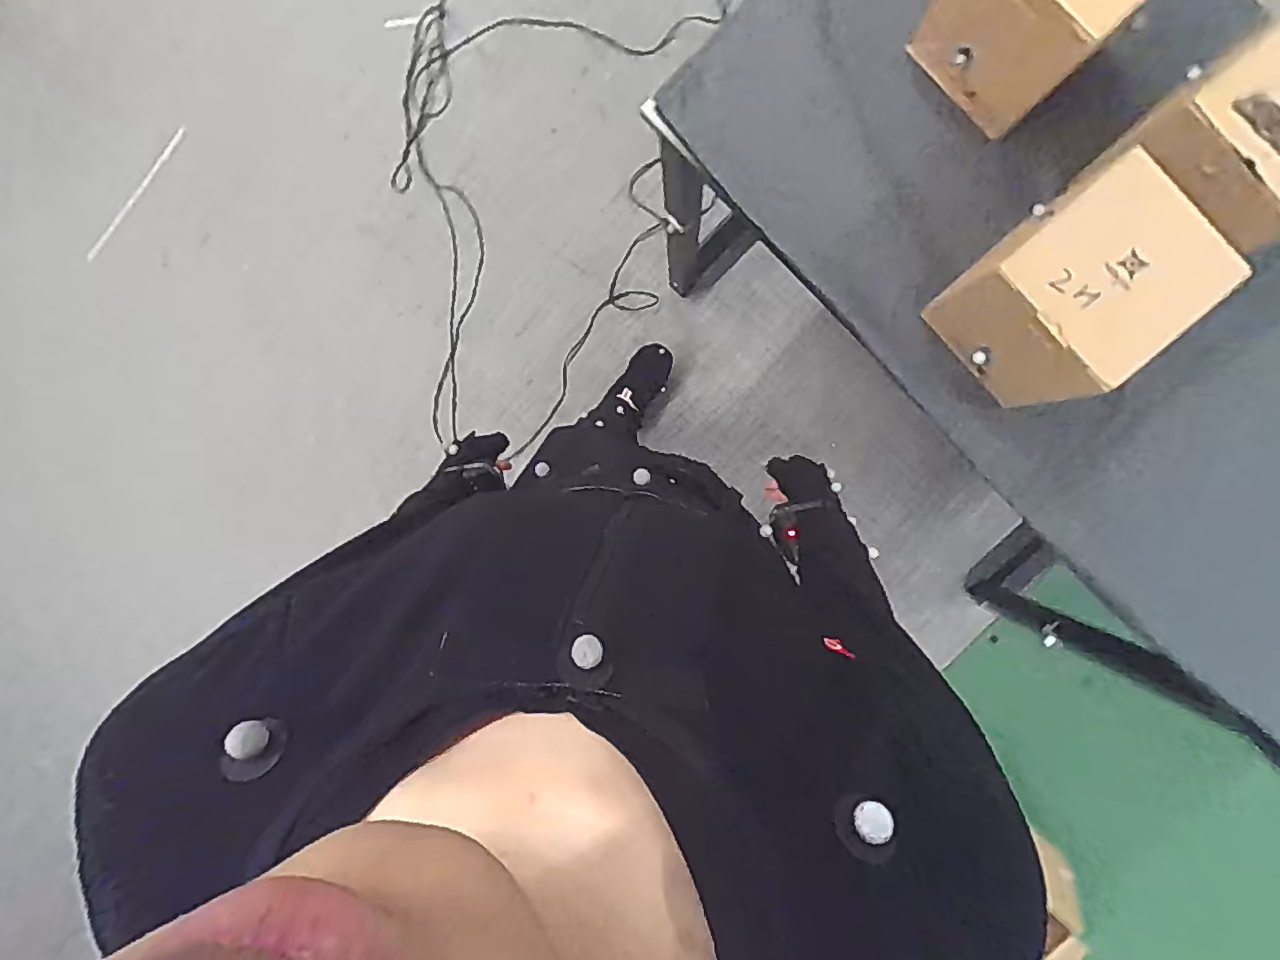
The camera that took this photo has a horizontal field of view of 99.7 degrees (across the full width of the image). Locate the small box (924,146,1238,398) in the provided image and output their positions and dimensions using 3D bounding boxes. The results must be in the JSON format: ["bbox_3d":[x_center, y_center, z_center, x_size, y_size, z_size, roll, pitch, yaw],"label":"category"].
[{"bbox_3d":[0.468,-0.212,0.608,0.179,0.176,0.168,-42,90,4],"label":"small box"}]

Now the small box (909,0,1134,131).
[{"bbox_3d":[0.440,-0.543,0.592,0.179,0.176,0.168,-44,90,5],"label":"small box"}]

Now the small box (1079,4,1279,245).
[{"bbox_3d":[0.637,-0.365,0.590,0.179,0.176,0.168,-41,91,4],"label":"small box"}]
